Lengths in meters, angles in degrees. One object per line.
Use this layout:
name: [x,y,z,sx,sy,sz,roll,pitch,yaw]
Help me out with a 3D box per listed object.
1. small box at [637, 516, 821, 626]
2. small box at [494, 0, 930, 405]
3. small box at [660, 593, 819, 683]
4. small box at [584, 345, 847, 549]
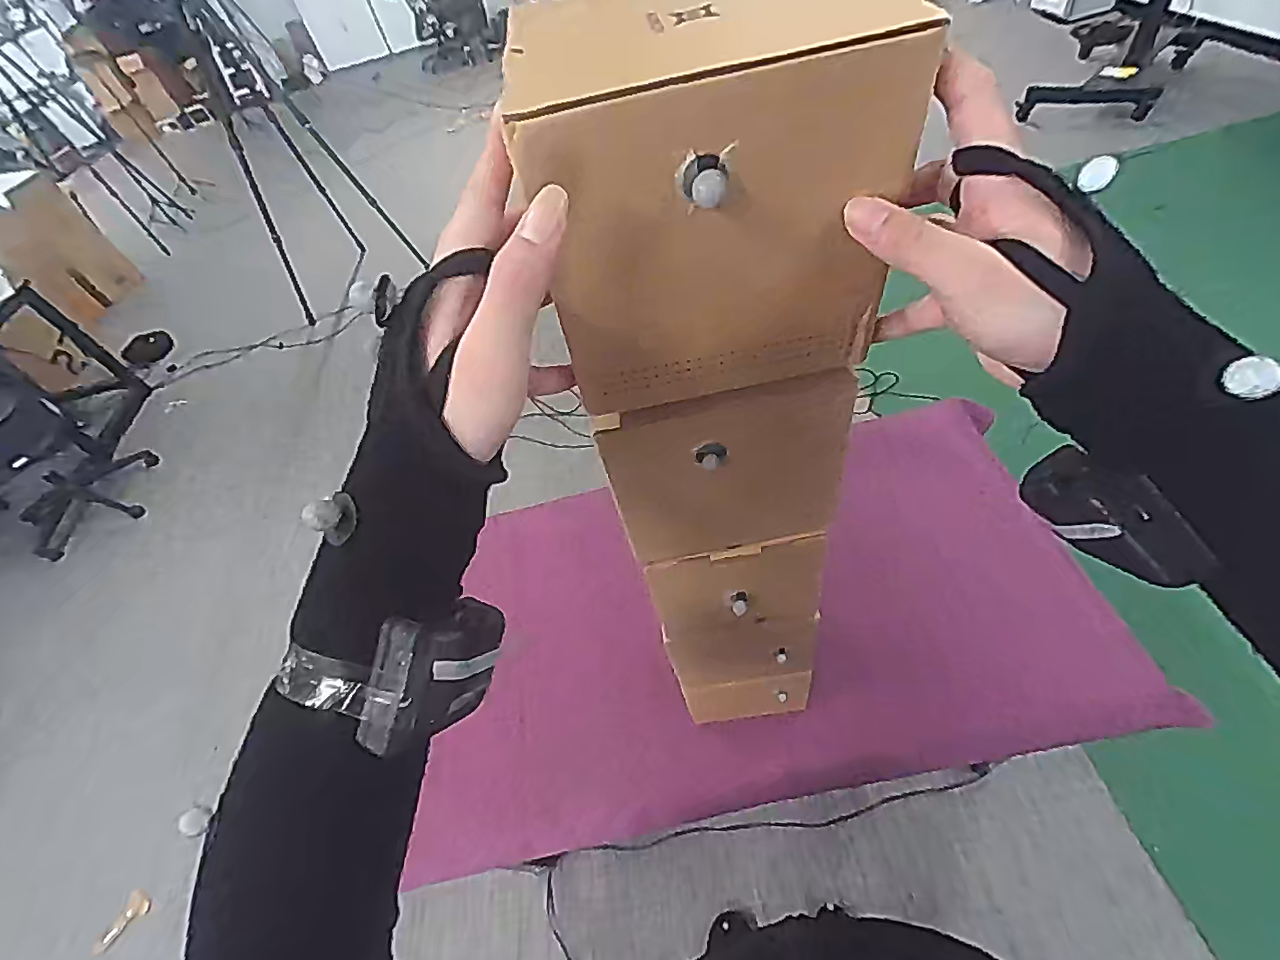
small box: [0.088,0.045,0.585,0.168,0.176,0.179,-10,51,5]
small box: [0.030,-0.169,0.320,0.179,0.176,0.168,-11,52,3]
small box: [0.120,0.150,0.706,0.179,0.176,0.168,-10,50,6]
small box: [0.057,-0.059,0.461,0.179,0.176,0.168,-11,50,4]
